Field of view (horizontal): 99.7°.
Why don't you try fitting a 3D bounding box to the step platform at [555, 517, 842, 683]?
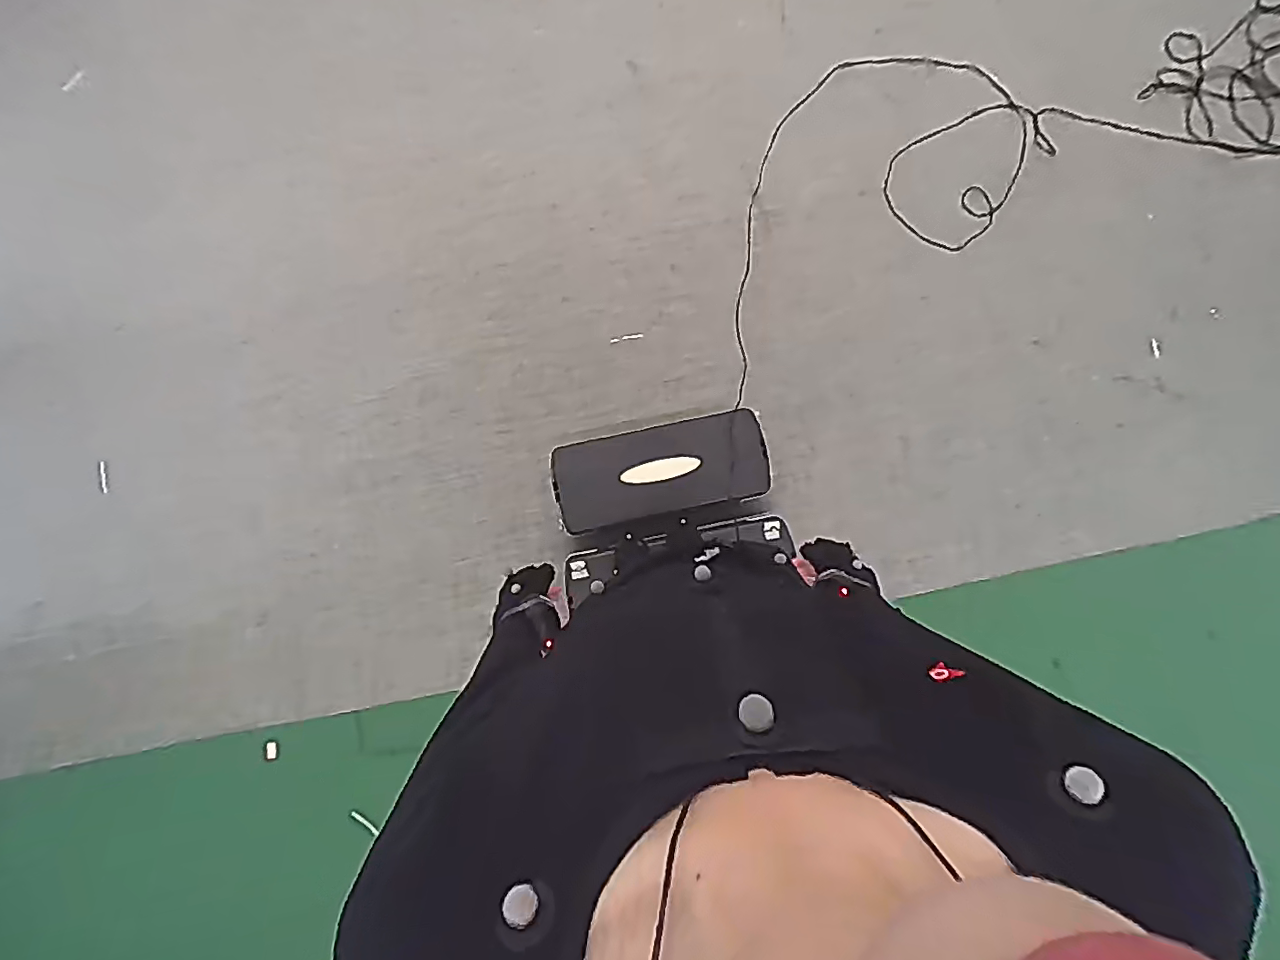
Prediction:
[{"bbox_3d":[0.139,0.298,1.388,0.684,0.204,0.286,-12,84,-2],"label":"step platform"}]
